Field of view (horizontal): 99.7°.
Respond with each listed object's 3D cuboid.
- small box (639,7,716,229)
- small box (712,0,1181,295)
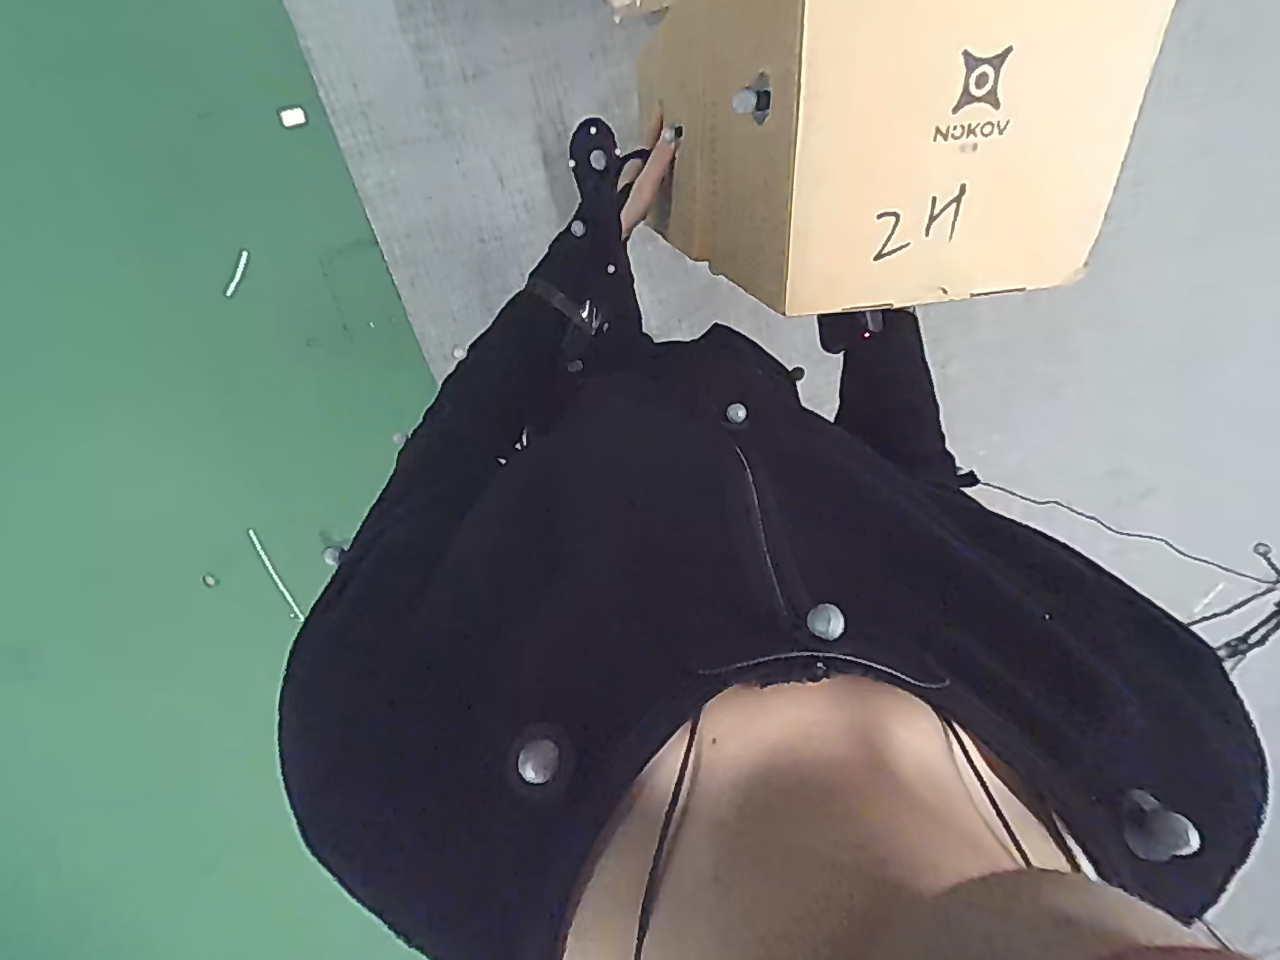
[{"bbox_3d":[0.092,-0.381,0.583,0.168,0.176,0.179,-6,121,-5],"label":"small box"},{"bbox_3d":[0.138,-0.215,0.302,0.168,0.176,0.179,-6,121,-4],"label":"small box"}]
